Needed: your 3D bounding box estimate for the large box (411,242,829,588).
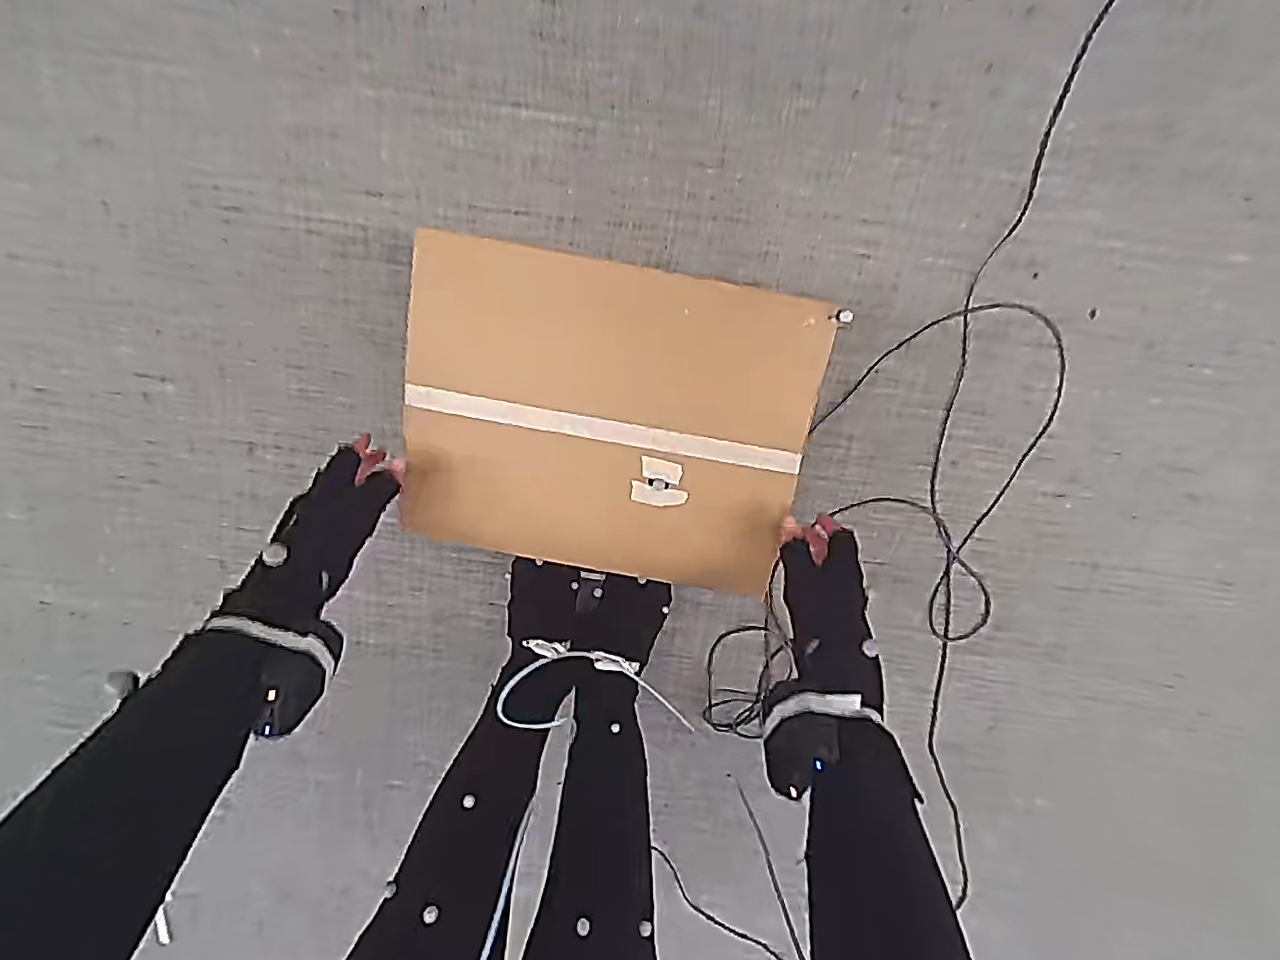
[{"bbox_3d":[-0.032,-0.092,0.703,0.408,0.320,0.320,10,106,-1],"label":"large box"}]
